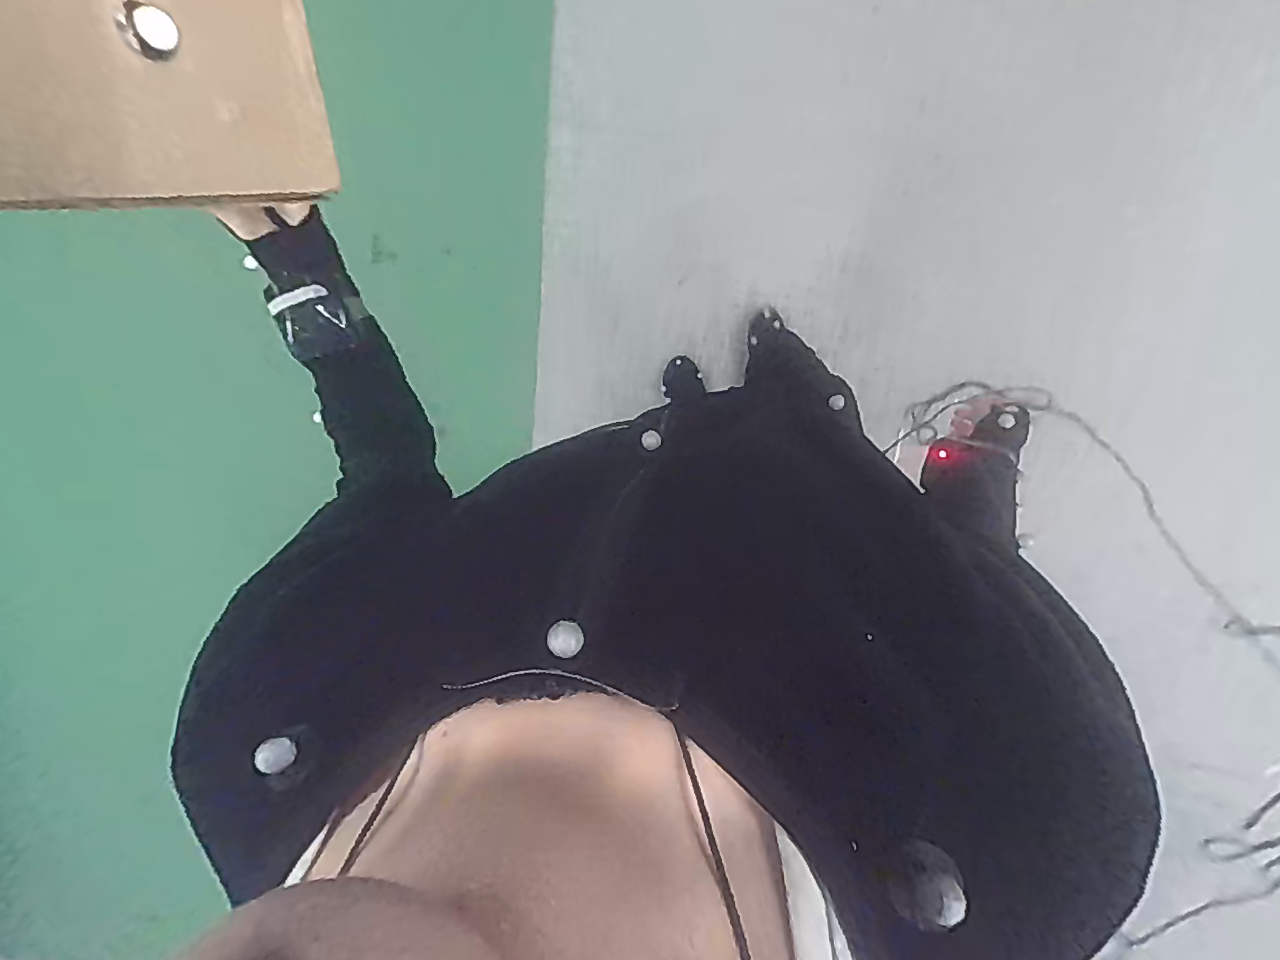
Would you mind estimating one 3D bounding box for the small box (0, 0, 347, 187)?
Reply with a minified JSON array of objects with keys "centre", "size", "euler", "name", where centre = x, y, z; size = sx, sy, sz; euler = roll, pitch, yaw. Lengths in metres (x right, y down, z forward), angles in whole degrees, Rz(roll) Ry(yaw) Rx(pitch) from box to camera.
[{"centre":[-0.279,-0.244,0.252],"size":[0.168,0.179,0.176],"euler":[26,128,30],"name":"small box"}]
